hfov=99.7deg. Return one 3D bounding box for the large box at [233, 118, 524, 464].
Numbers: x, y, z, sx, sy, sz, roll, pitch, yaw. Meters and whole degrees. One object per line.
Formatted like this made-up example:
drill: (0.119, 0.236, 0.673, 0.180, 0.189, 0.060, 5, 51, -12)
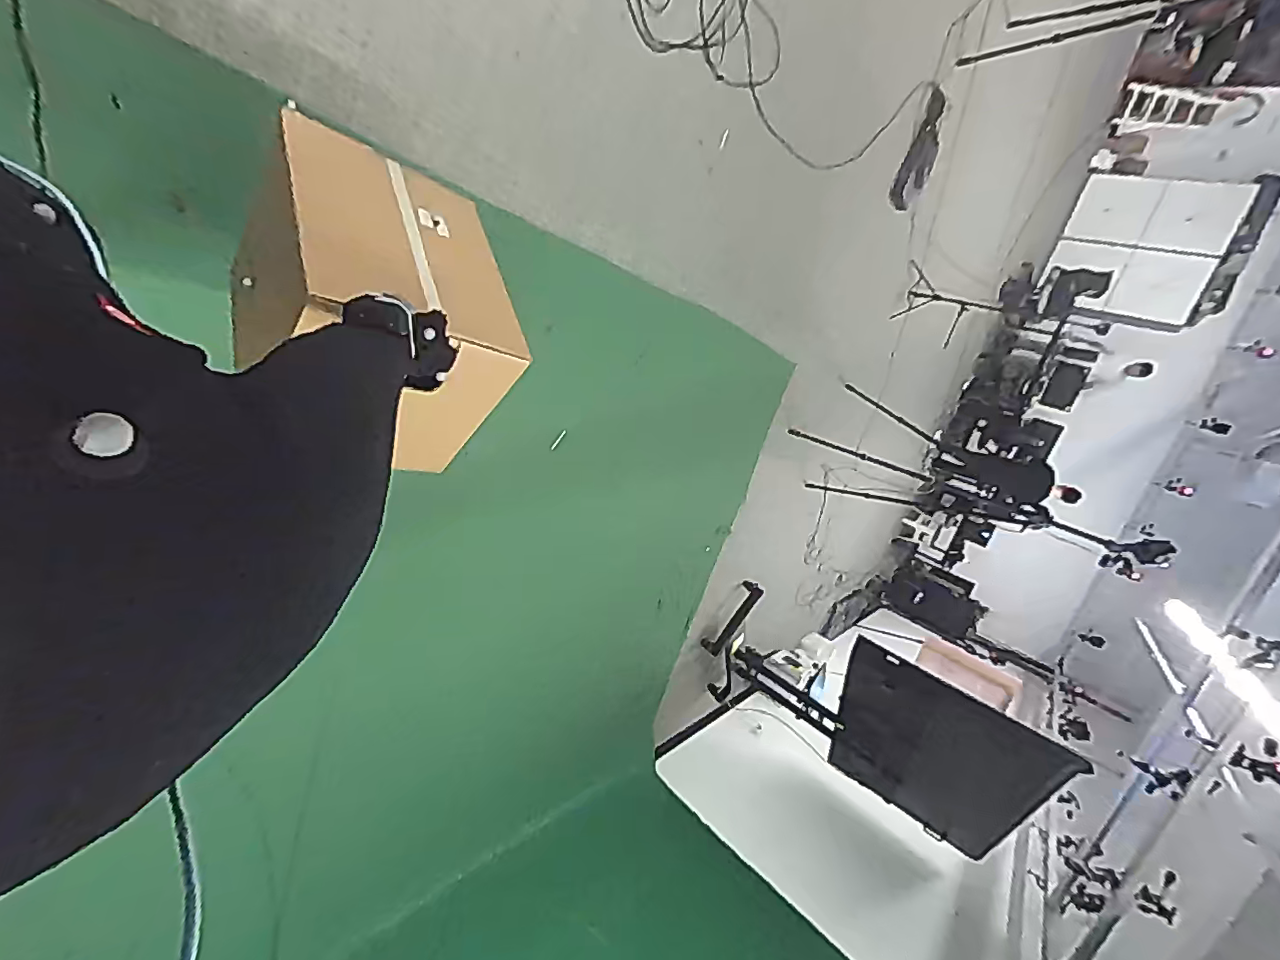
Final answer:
large box: (-0.452, -0.278, 0.904, 0.320, 0.408, 0.320, 7, 141, -48)
